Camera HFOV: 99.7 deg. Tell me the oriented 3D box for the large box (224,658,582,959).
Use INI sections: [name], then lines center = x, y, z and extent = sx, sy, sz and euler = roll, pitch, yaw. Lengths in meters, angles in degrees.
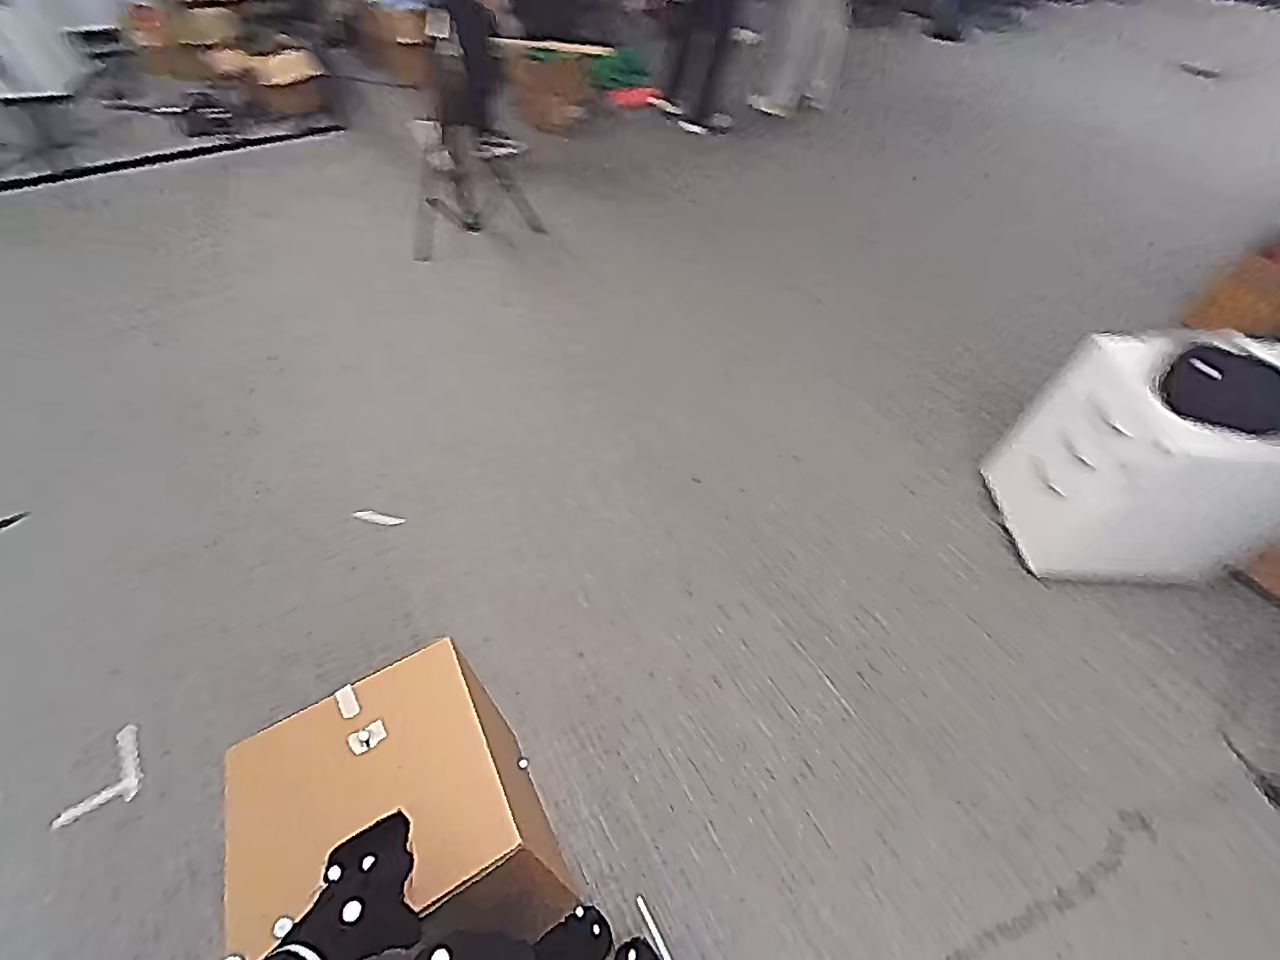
[large box]
center = -0.322, 0.540, 0.798
extent = 0.320, 0.408, 0.320
euler = -26, 48, -17
